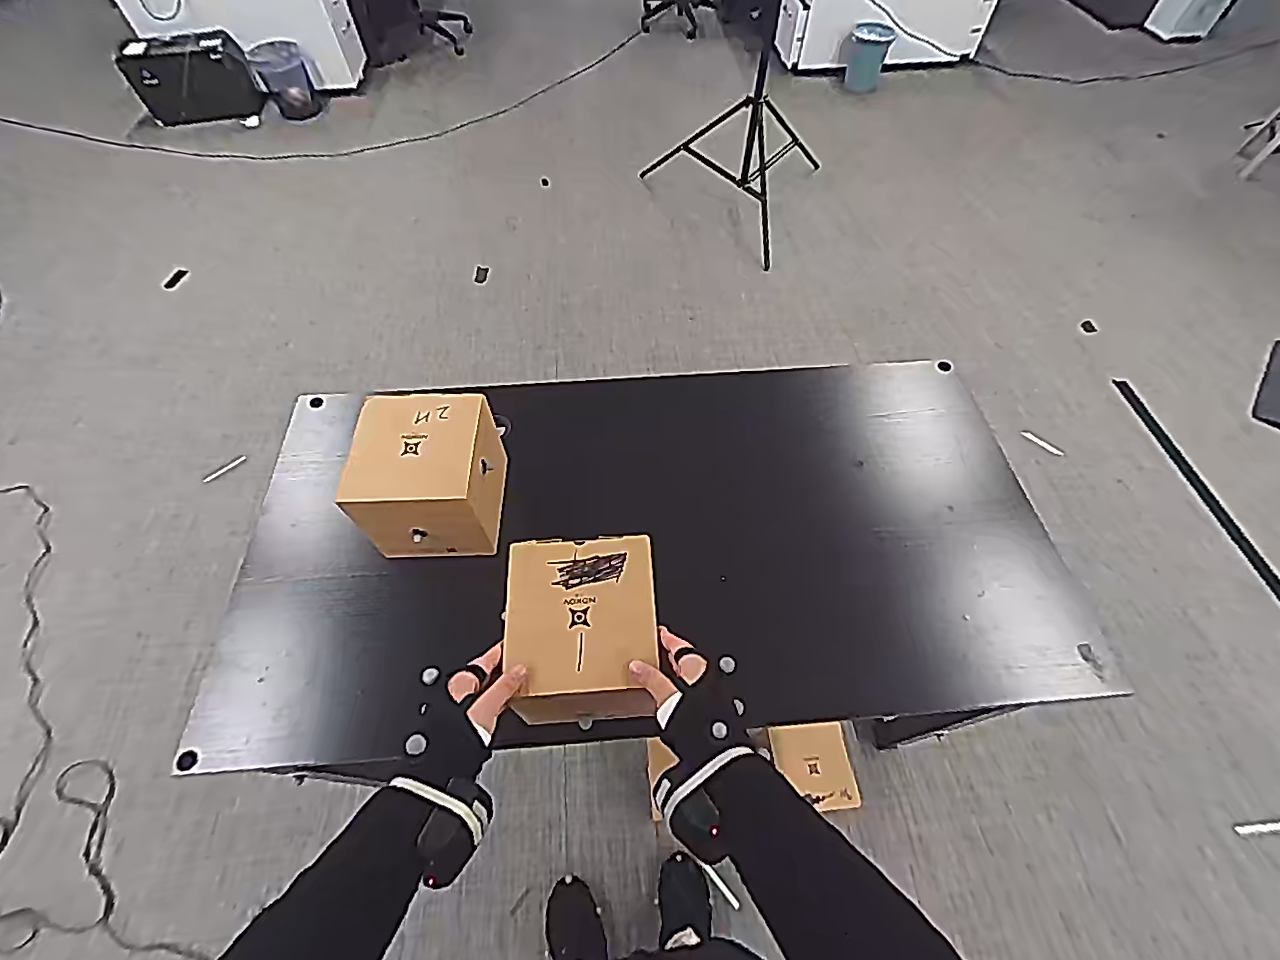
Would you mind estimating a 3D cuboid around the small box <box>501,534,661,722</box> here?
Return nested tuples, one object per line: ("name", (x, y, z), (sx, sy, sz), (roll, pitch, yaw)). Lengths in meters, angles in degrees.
("small box", (-0.065, 0.185, 0.663), (0.168, 0.176, 0.179), (-4, 57, -2))

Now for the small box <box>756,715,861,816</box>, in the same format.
("small box", (0.370, 0.650, 1.226), (0.168, 0.176, 0.179), (-5, 57, -2))

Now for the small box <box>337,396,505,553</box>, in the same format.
("small box", (-0.299, -0.001, 0.784), (0.168, 0.176, 0.179), (-1, 57, -1))

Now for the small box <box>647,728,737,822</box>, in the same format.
("small box", (0.108, 0.667, 1.220), (0.179, 0.176, 0.168), (-5, 57, -2))
